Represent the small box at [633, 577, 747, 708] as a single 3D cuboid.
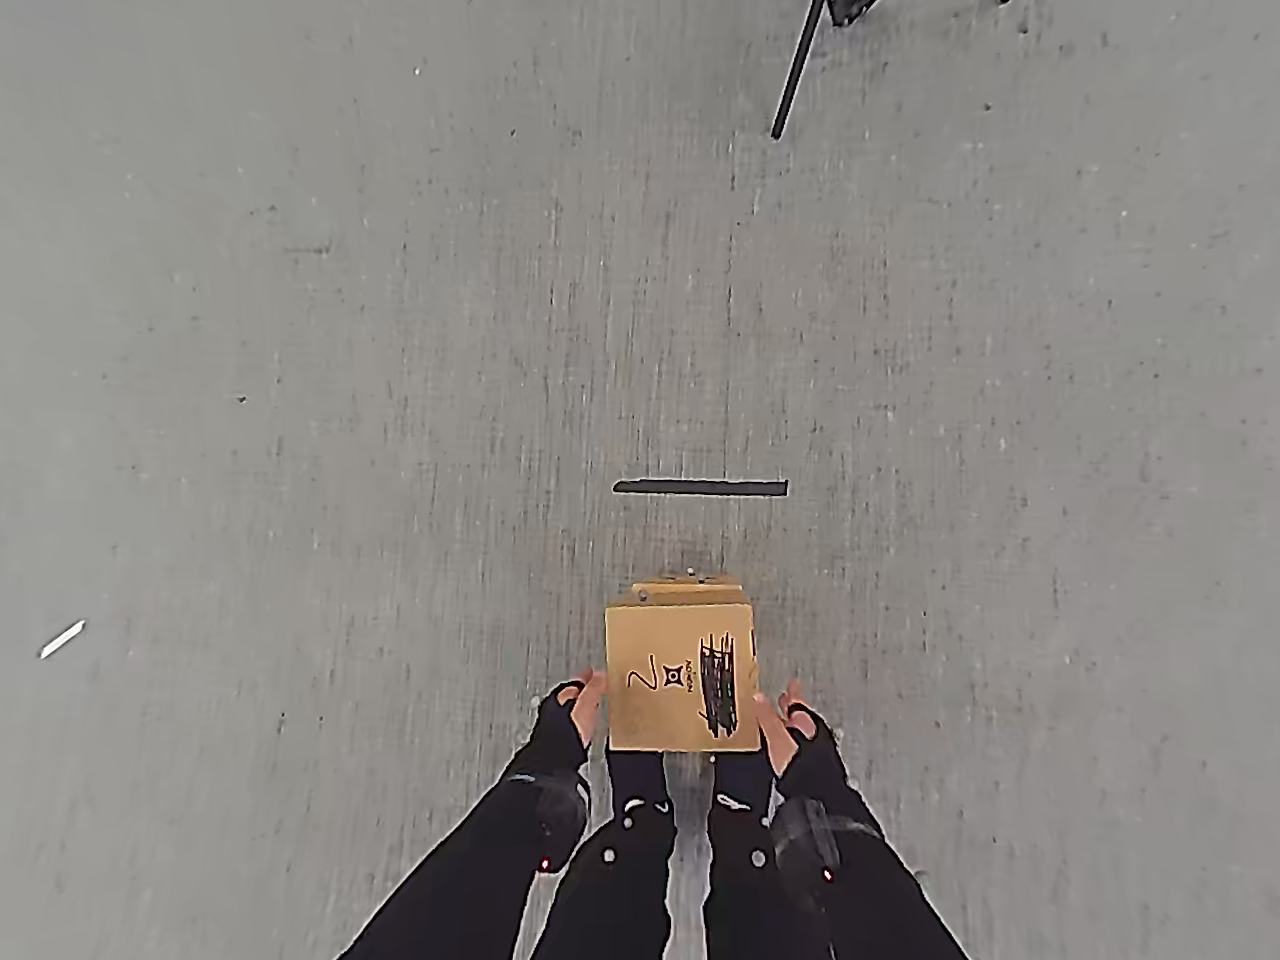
[{"bbox_3d":[0.080,0.247,0.861,0.168,0.176,0.179,-1,83,7],"label":"small box"}]
